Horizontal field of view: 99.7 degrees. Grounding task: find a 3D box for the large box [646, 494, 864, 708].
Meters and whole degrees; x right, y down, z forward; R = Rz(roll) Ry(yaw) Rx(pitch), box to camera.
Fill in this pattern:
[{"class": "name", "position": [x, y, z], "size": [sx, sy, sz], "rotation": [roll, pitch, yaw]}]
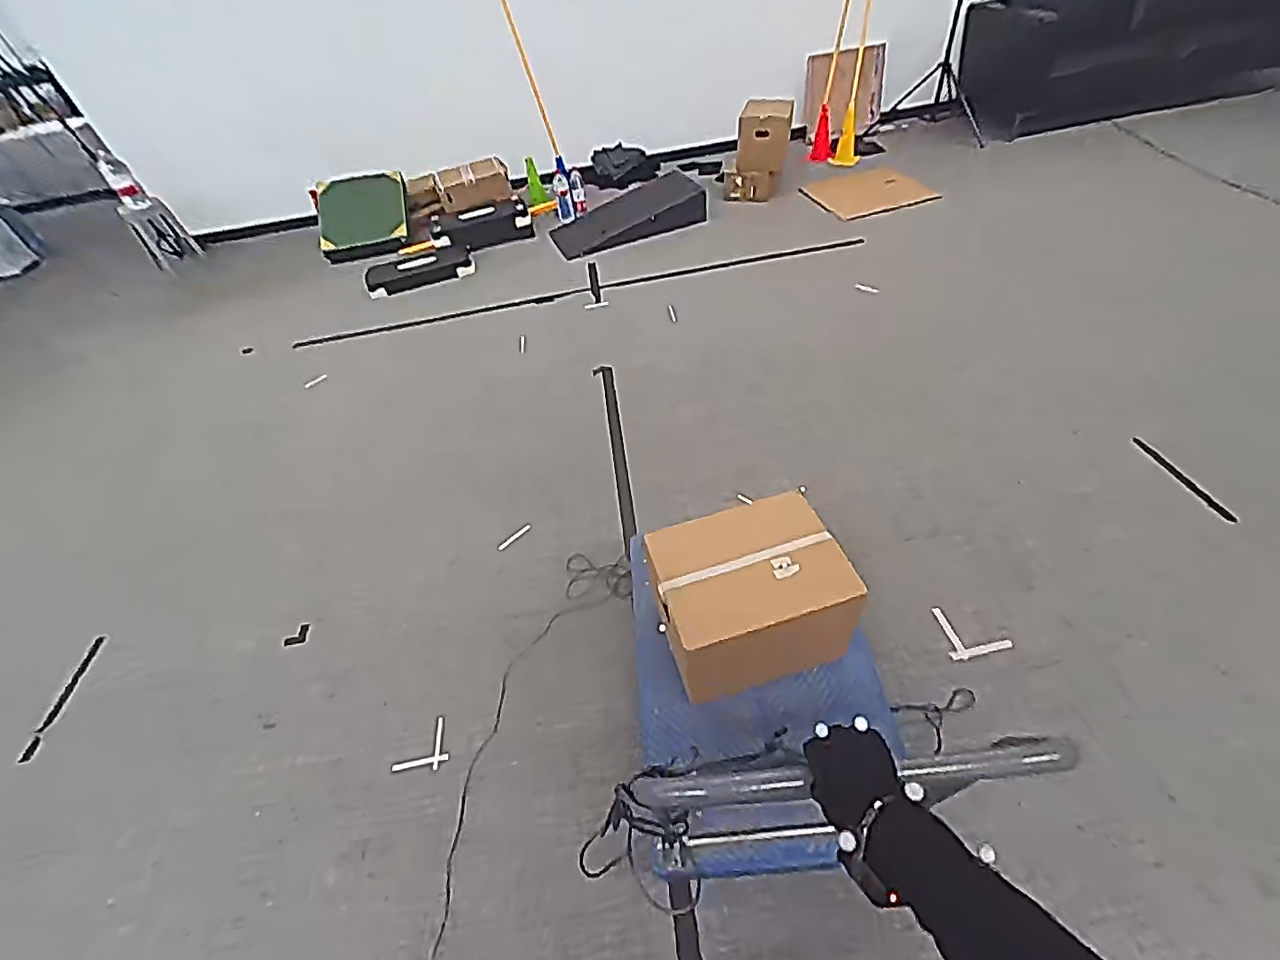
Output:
[{"class": "large box", "position": [0.256, 0.291, 1.309], "size": [0.408, 0.320, 0.320], "rotation": [-15, 47, -6]}]
